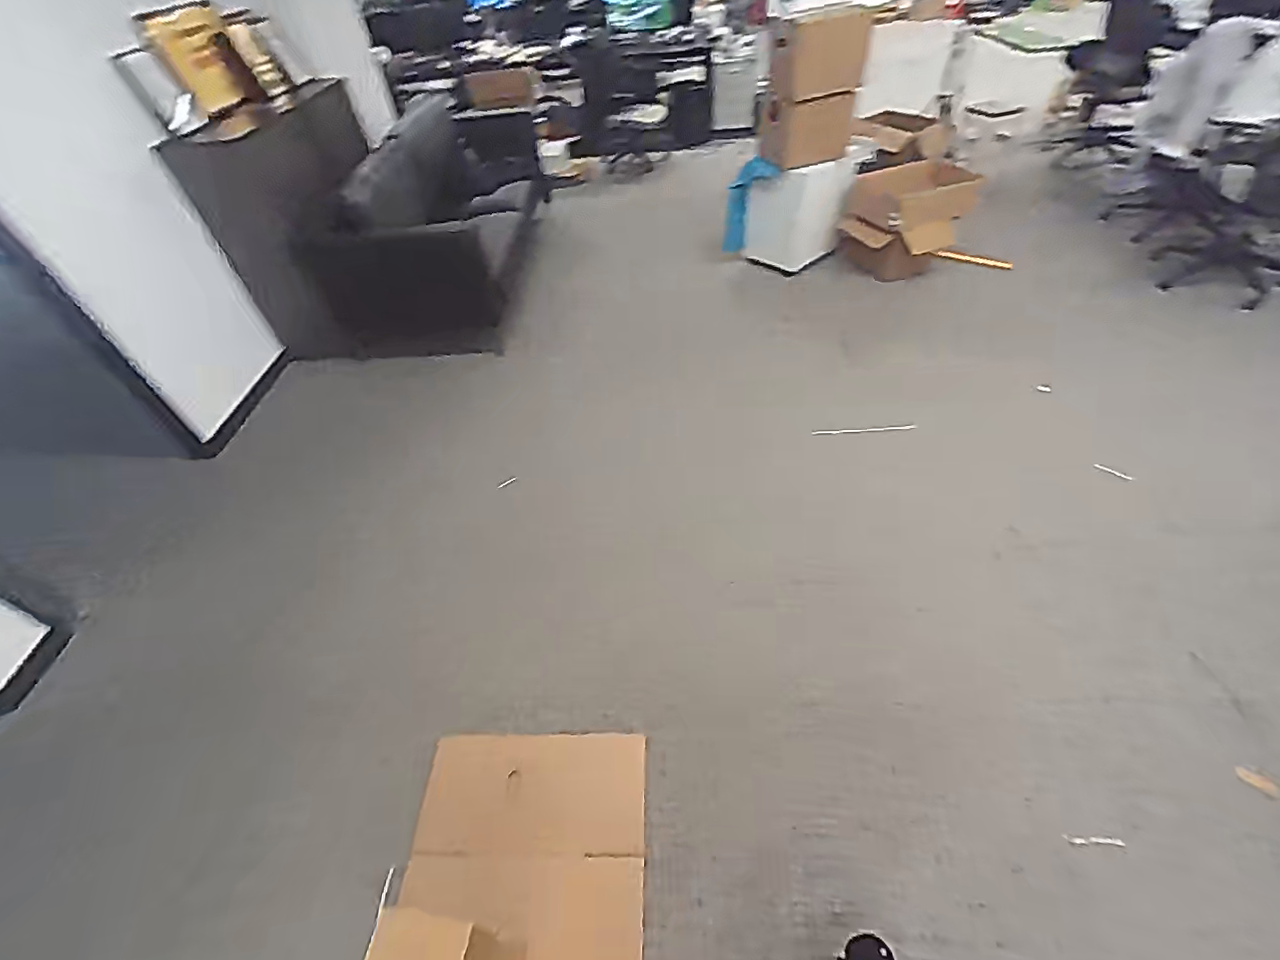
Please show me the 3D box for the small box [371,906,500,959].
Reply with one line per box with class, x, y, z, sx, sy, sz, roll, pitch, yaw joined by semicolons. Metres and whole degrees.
small box;-0.355;0.857;0.922;0.168;0.176;0.179;3;47;9
